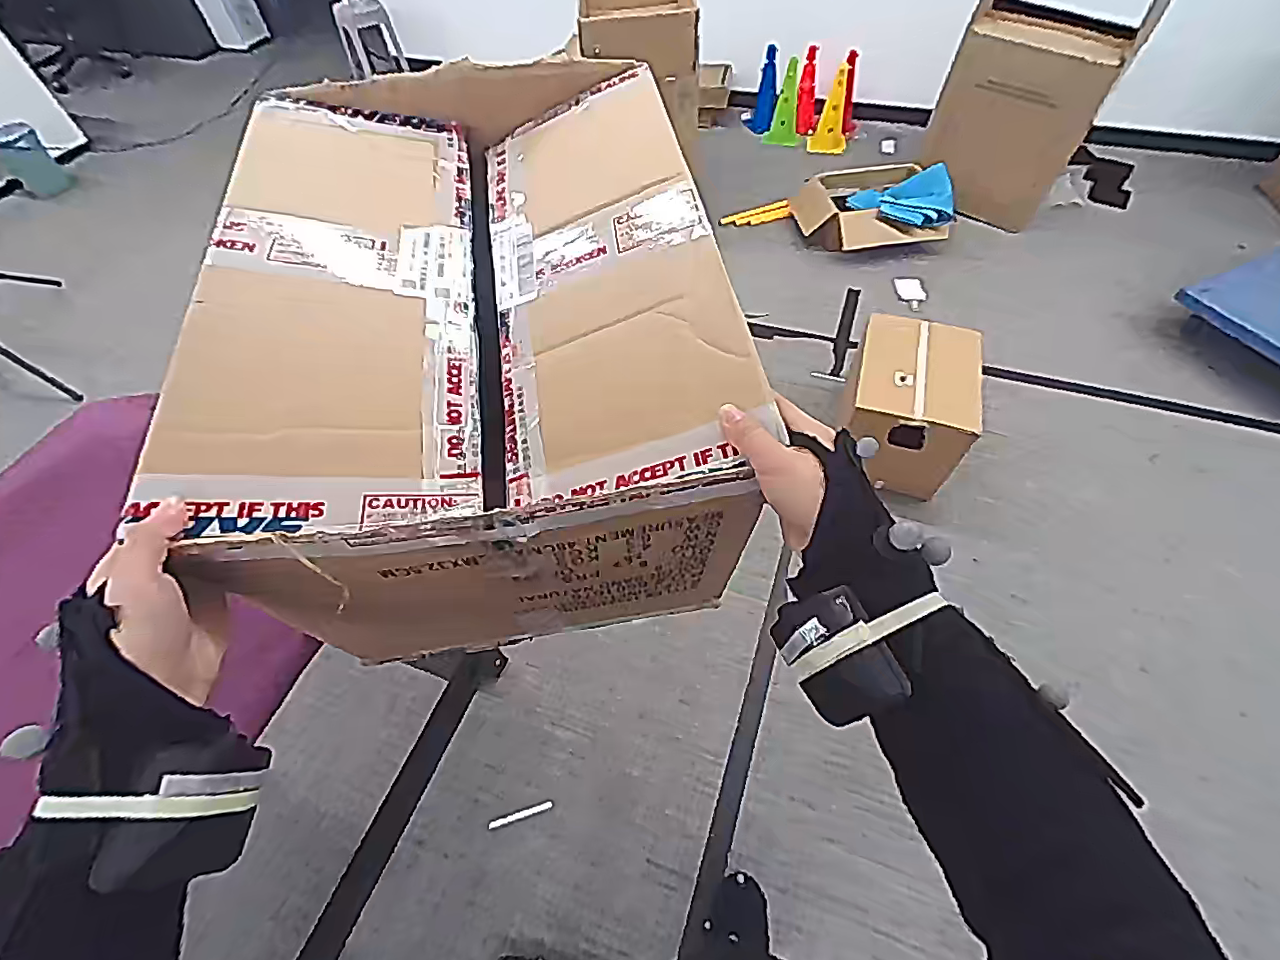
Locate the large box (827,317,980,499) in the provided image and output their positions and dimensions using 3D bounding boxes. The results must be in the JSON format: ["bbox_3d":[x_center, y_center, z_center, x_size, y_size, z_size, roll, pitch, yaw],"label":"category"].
[{"bbox_3d":[0.769,-0.215,1.606,0.320,0.320,0.408,14,57,12],"label":"large box"}]
